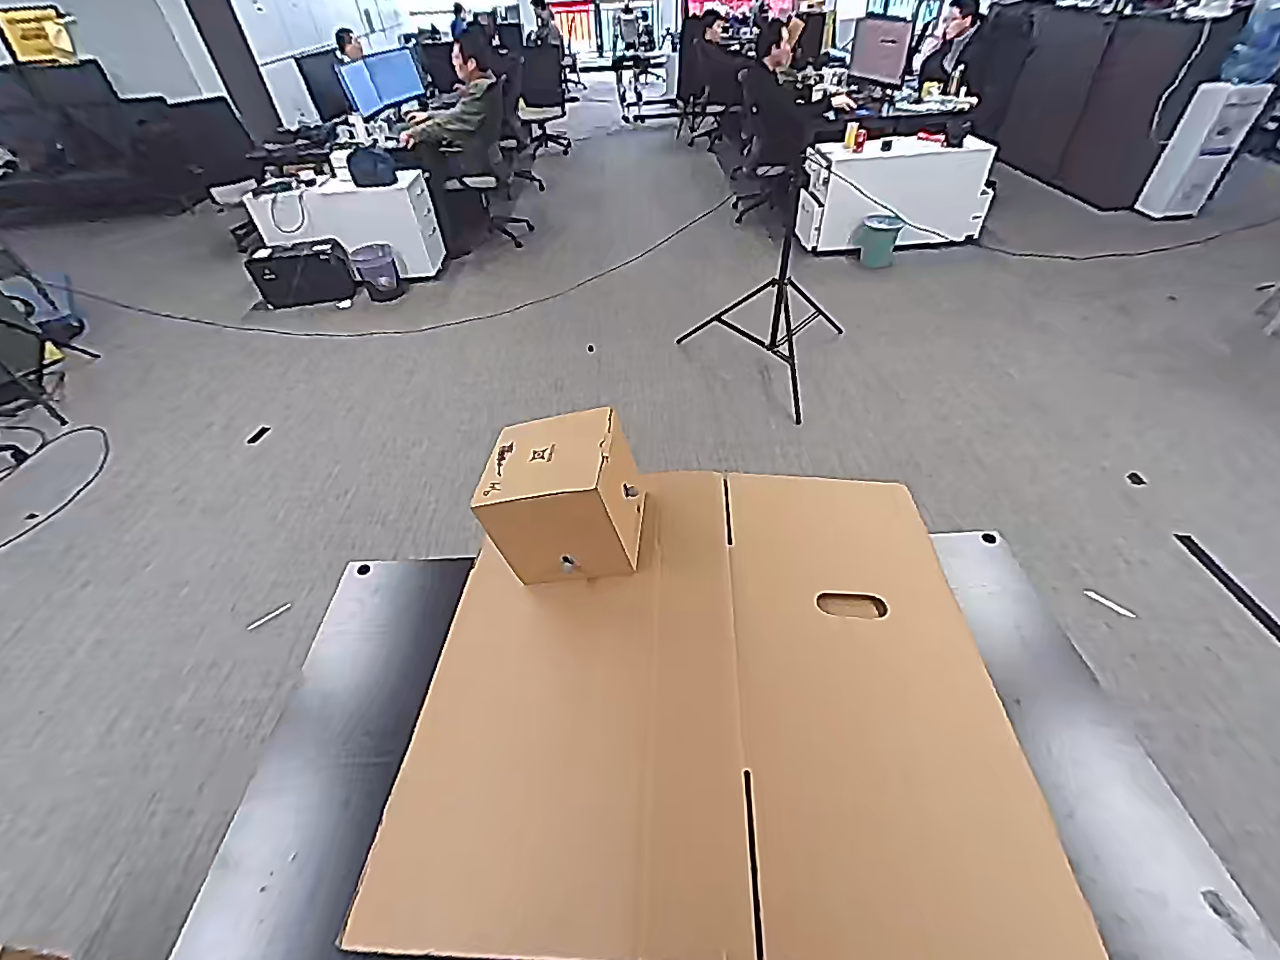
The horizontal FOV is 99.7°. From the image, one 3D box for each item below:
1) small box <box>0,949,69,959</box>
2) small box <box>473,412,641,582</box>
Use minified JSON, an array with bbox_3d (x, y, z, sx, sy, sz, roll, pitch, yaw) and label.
[{"bbox_3d":[-1.171,0.948,0.935,0.168,0.176,0.179,-7,42,-5],"label":"small box"},{"bbox_3d":[-0.103,0.029,0.778,0.179,0.176,0.168,-8,41,14],"label":"small box"}]
